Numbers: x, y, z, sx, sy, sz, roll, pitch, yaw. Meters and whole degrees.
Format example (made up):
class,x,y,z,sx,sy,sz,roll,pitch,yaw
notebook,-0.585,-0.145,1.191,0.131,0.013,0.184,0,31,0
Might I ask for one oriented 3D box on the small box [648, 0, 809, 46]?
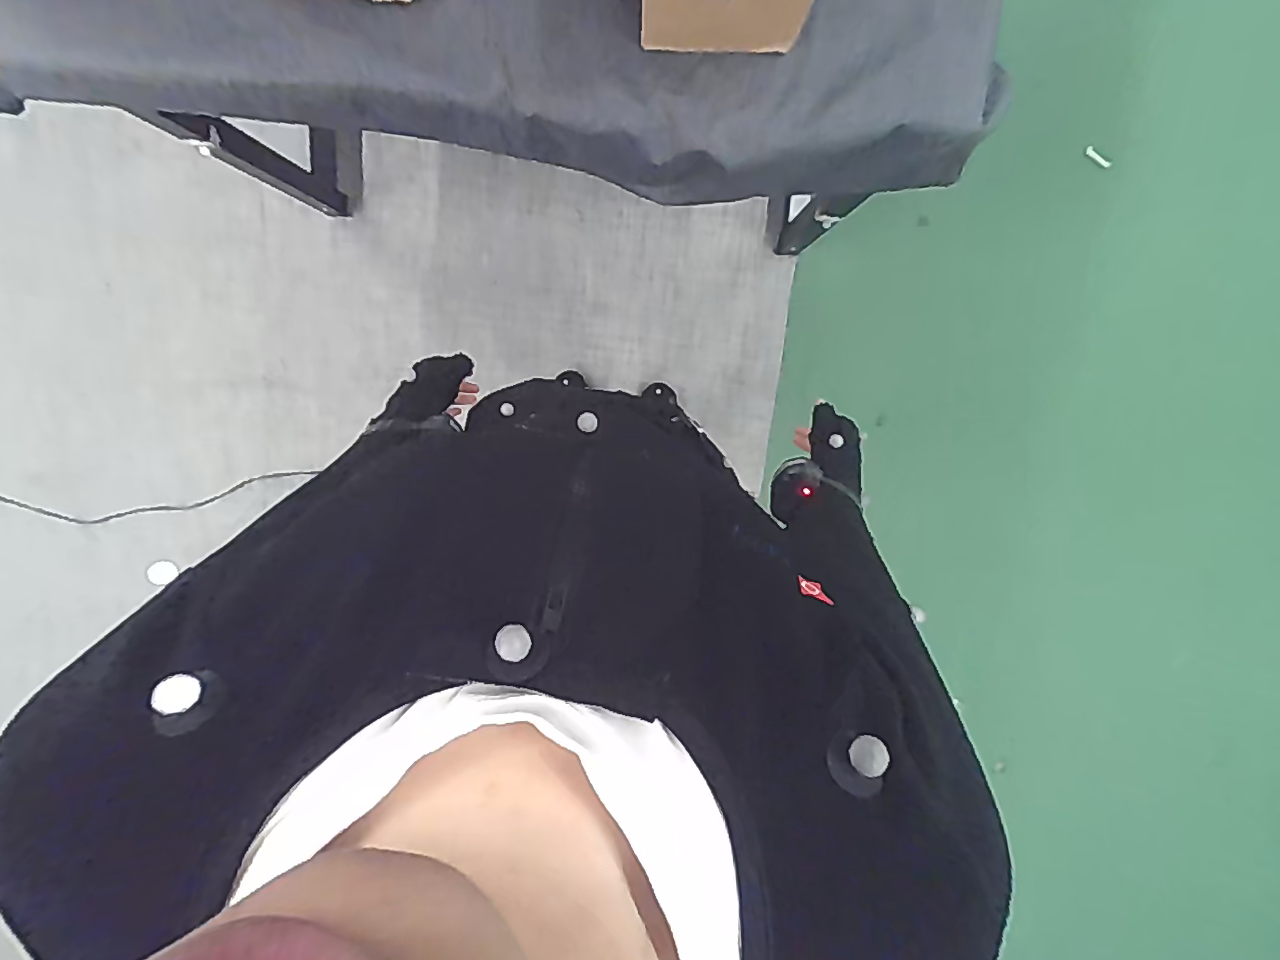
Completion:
class,x,y,z,sx,sy,sz,roll,pitch,yaw
small box,0.098,-0.577,0.544,0.179,0.176,0.168,1,102,-1
